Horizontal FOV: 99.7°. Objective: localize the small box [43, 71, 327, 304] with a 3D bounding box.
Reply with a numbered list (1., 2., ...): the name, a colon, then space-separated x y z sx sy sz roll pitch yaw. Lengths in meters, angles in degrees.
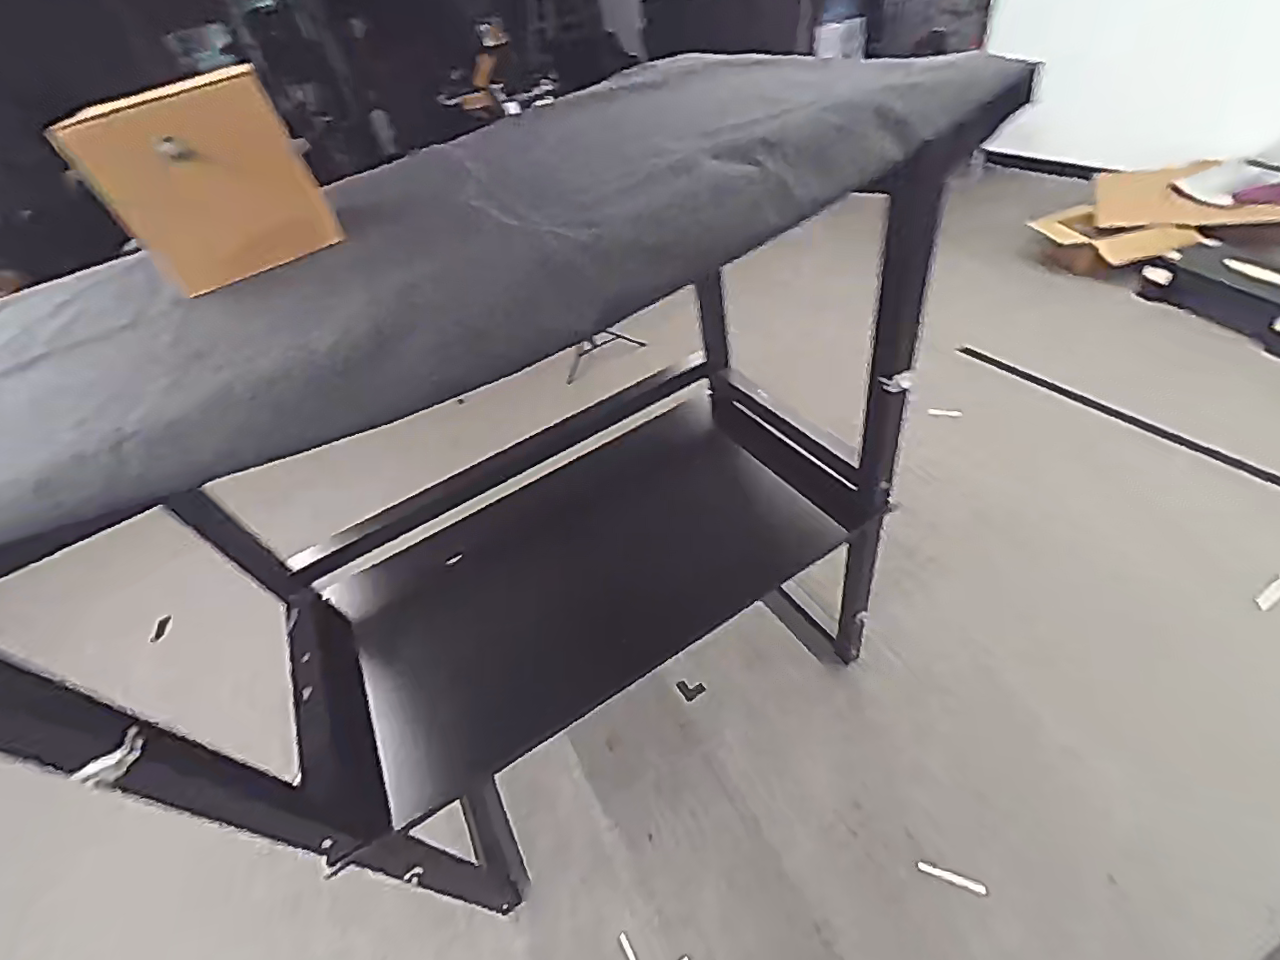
1. small box: -0.480 -0.329 0.608 0.179 0.176 0.168 -30 46 -13
